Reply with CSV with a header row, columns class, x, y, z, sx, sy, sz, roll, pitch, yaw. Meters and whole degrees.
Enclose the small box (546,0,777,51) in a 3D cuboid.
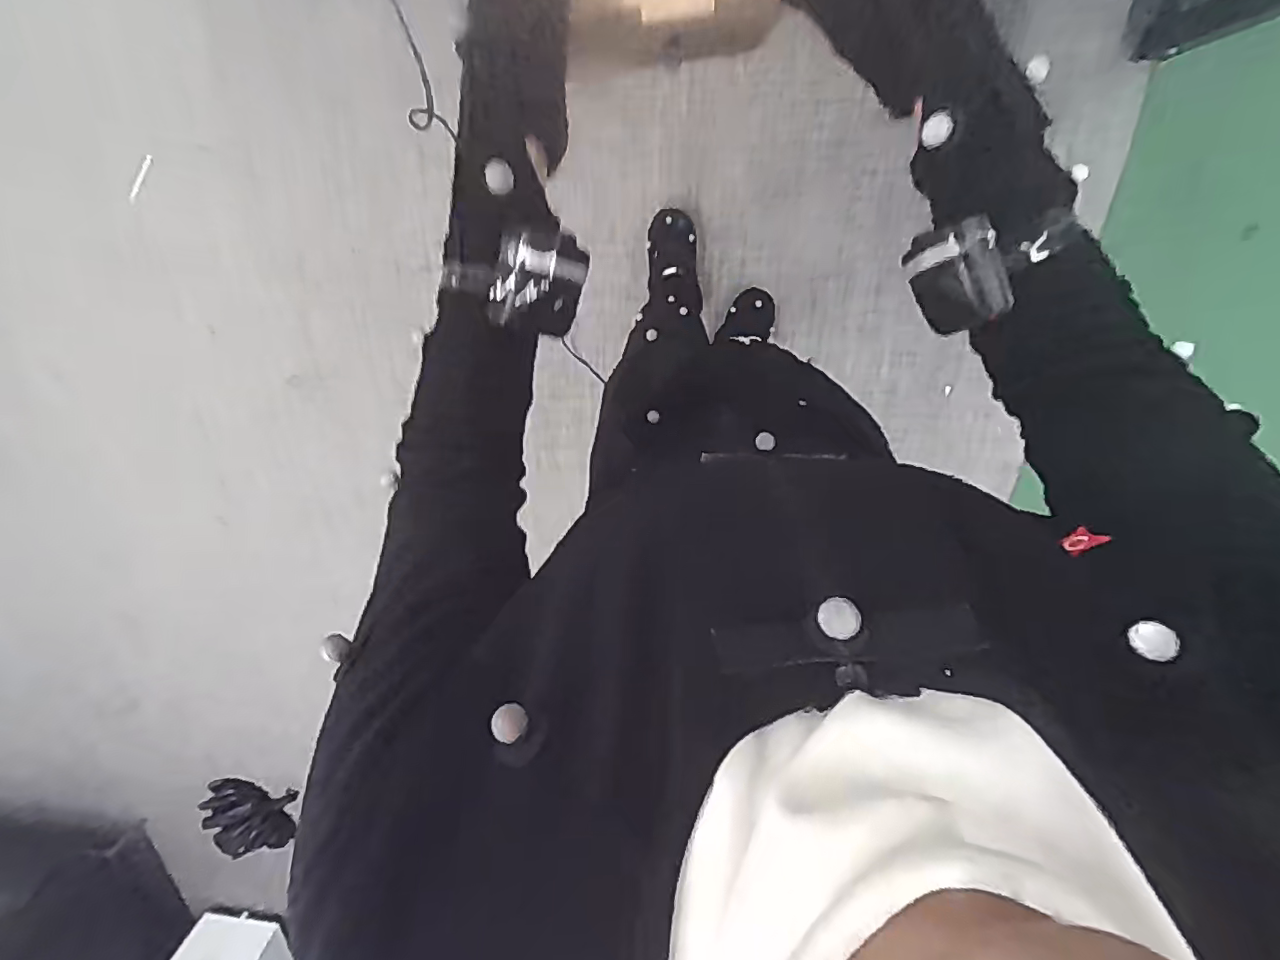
class,x,y,z,sx,sy,sz,roll,pitch,yaw
small box,0.014,-0.406,0.350,0.168,0.176,0.179,-7,118,4
